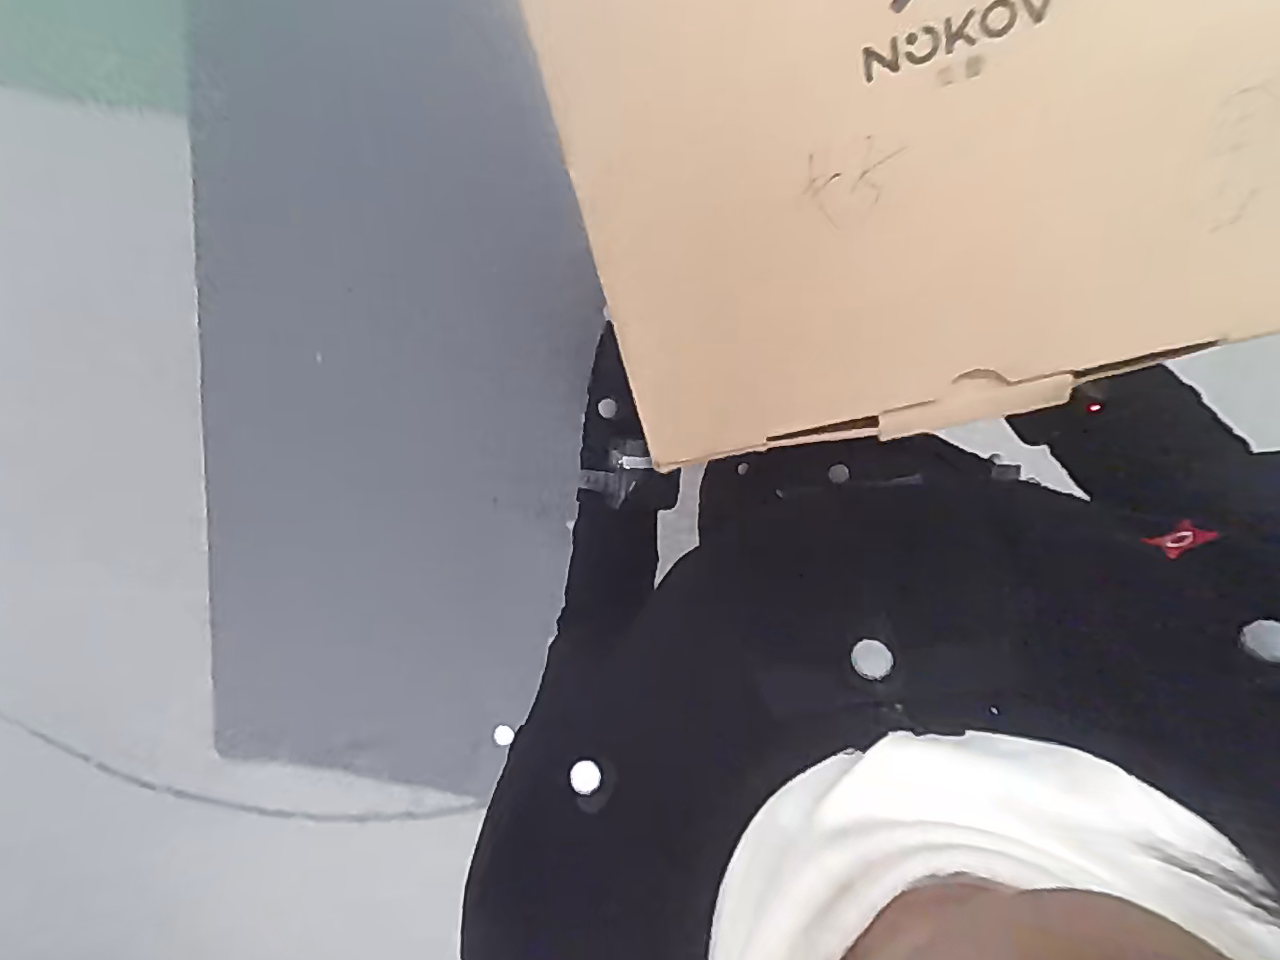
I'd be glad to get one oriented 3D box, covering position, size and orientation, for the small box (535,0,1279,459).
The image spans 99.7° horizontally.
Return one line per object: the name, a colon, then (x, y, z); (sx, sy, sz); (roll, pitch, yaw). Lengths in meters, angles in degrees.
small box: (0.070, -0.128, 0.182); (0.168, 0.176, 0.179); (-11, 111, 10)
